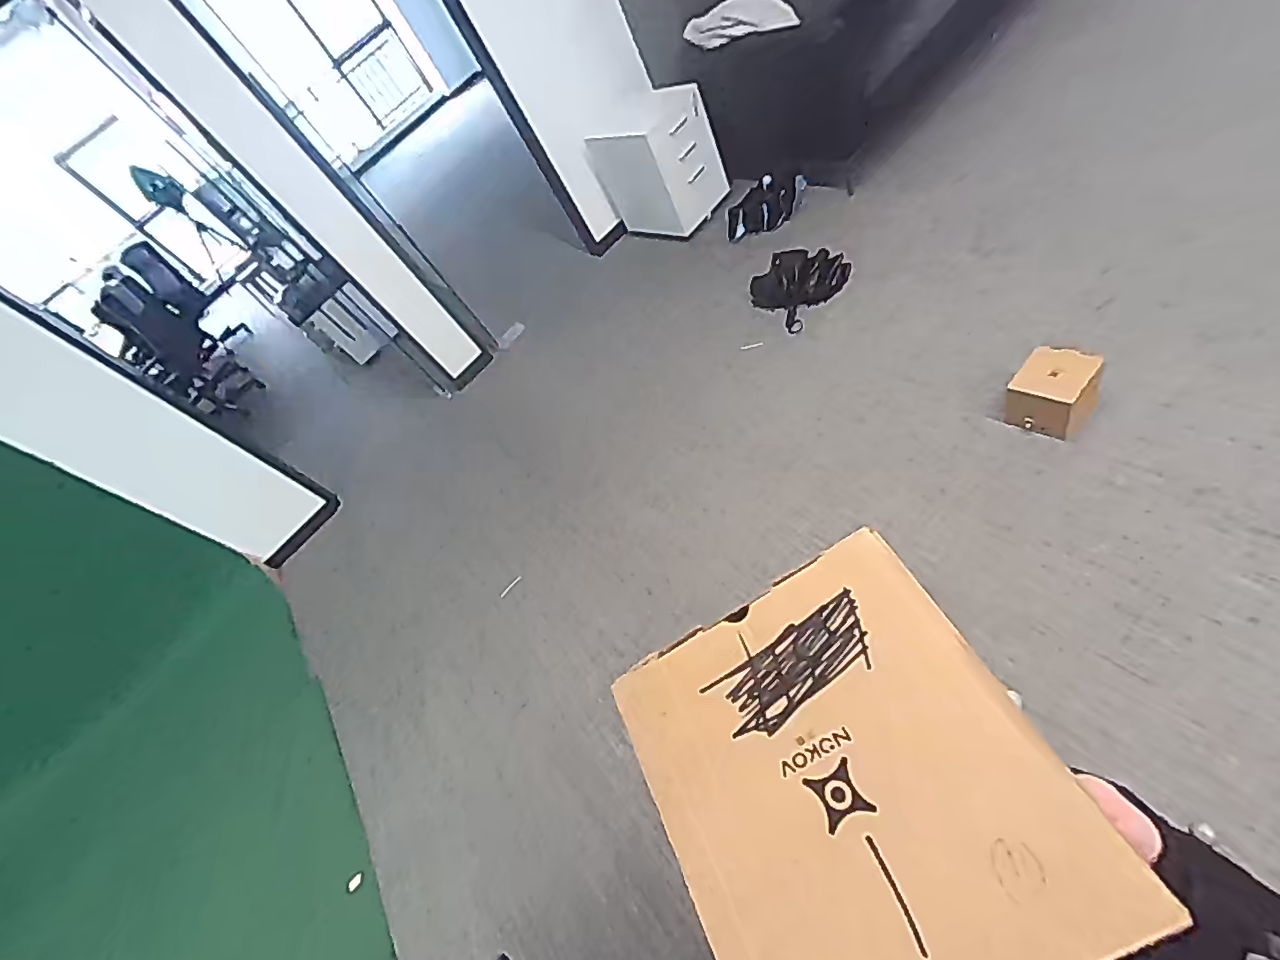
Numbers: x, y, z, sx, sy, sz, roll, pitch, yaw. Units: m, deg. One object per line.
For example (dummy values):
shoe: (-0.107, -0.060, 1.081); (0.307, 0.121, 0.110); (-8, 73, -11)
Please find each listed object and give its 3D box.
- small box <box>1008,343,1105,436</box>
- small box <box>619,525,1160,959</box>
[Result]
small box: (1.181, -0.258, 1.549); (0.179, 0.176, 0.168); (-50, 45, -9)
small box: (0.118, 0.161, 0.314); (0.168, 0.176, 0.179); (-34, 55, 9)
